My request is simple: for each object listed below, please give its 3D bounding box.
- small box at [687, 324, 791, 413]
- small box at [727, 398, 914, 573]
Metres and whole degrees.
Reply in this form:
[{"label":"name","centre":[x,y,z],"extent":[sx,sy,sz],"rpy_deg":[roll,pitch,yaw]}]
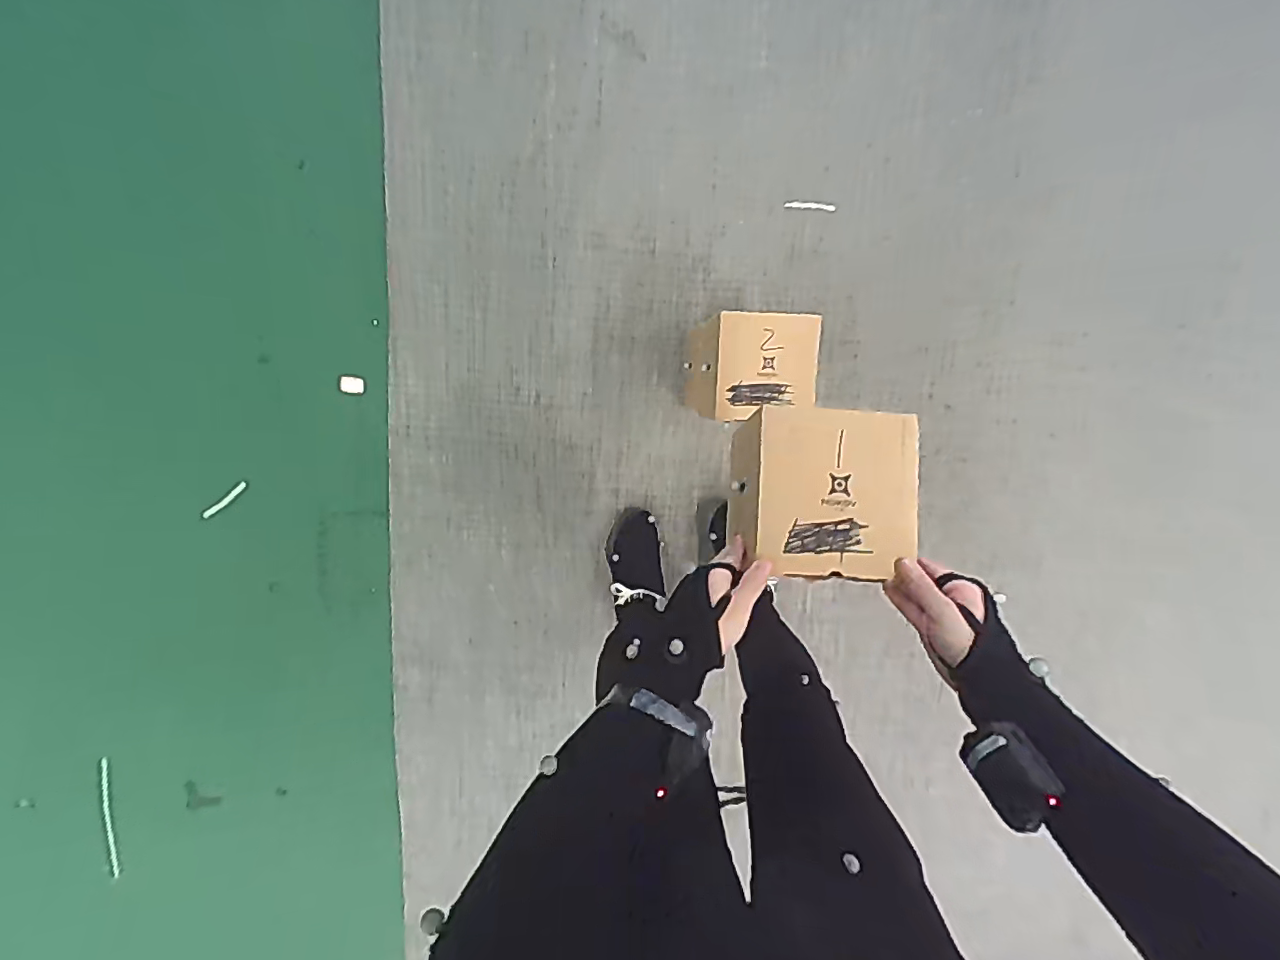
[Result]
[{"label":"small box","centre":[0.197,-0.224,1.122],"extent":[0.179,0.176,0.168],"rpy_deg":[1,99,-4]},{"label":"small box","centre":[0.201,0.013,0.641],"extent":[0.168,0.176,0.179],"rpy_deg":[4,83,-1]}]
